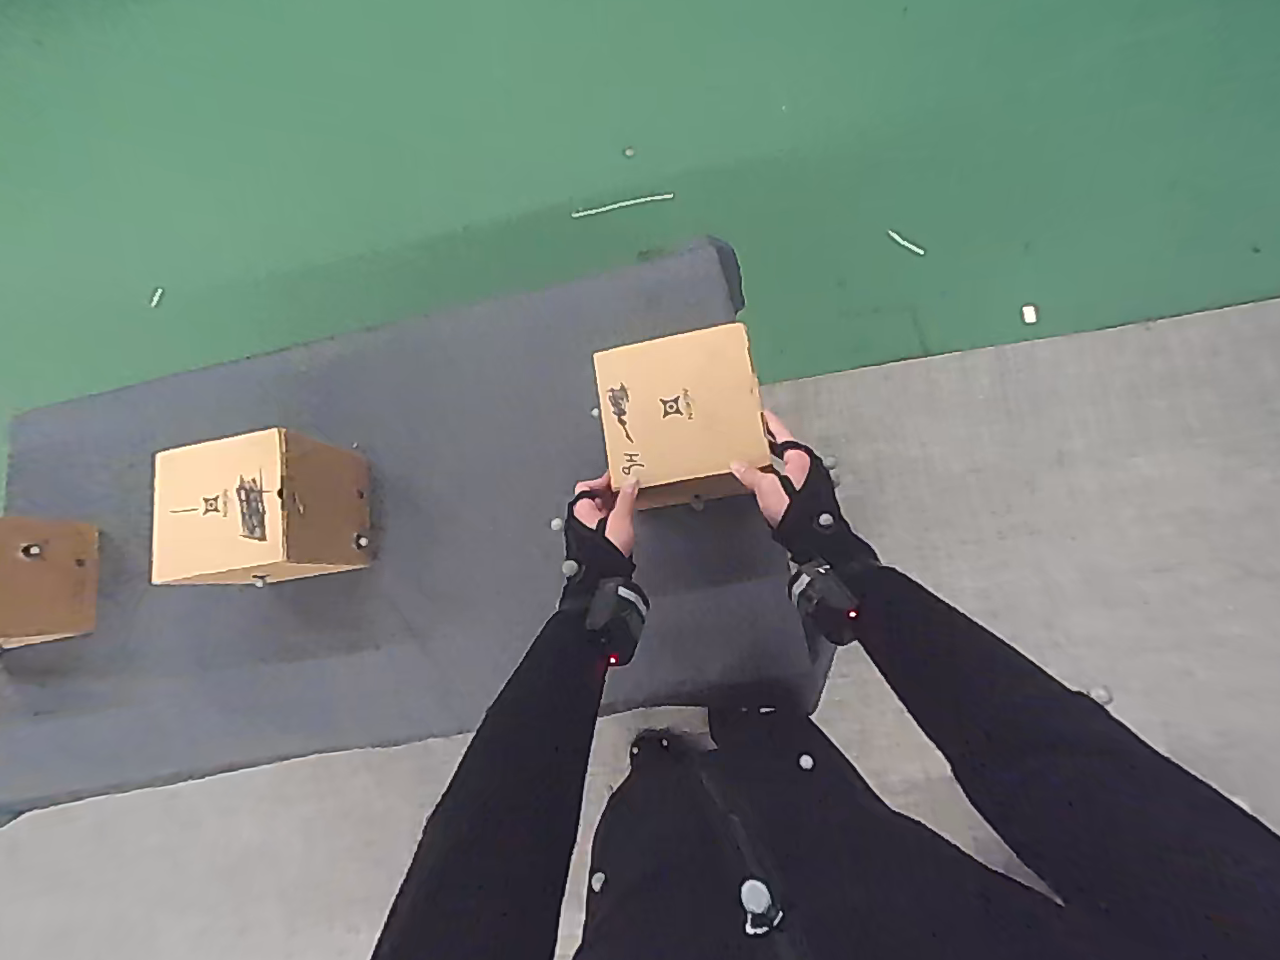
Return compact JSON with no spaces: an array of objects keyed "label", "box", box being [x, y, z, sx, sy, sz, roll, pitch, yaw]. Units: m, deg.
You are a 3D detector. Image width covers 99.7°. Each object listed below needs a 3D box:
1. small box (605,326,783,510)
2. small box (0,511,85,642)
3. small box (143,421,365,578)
[{"label":"small box","box":[0.063,-0.064,0.660,0.179,0.176,0.168,-8,77,5]},{"label":"small box","box":[-0.925,0.137,0.739,0.179,0.176,0.168,-11,76,5]},{"label":"small box","box":[-0.485,0.035,0.707,0.179,0.176,0.168,-9,77,6]}]
